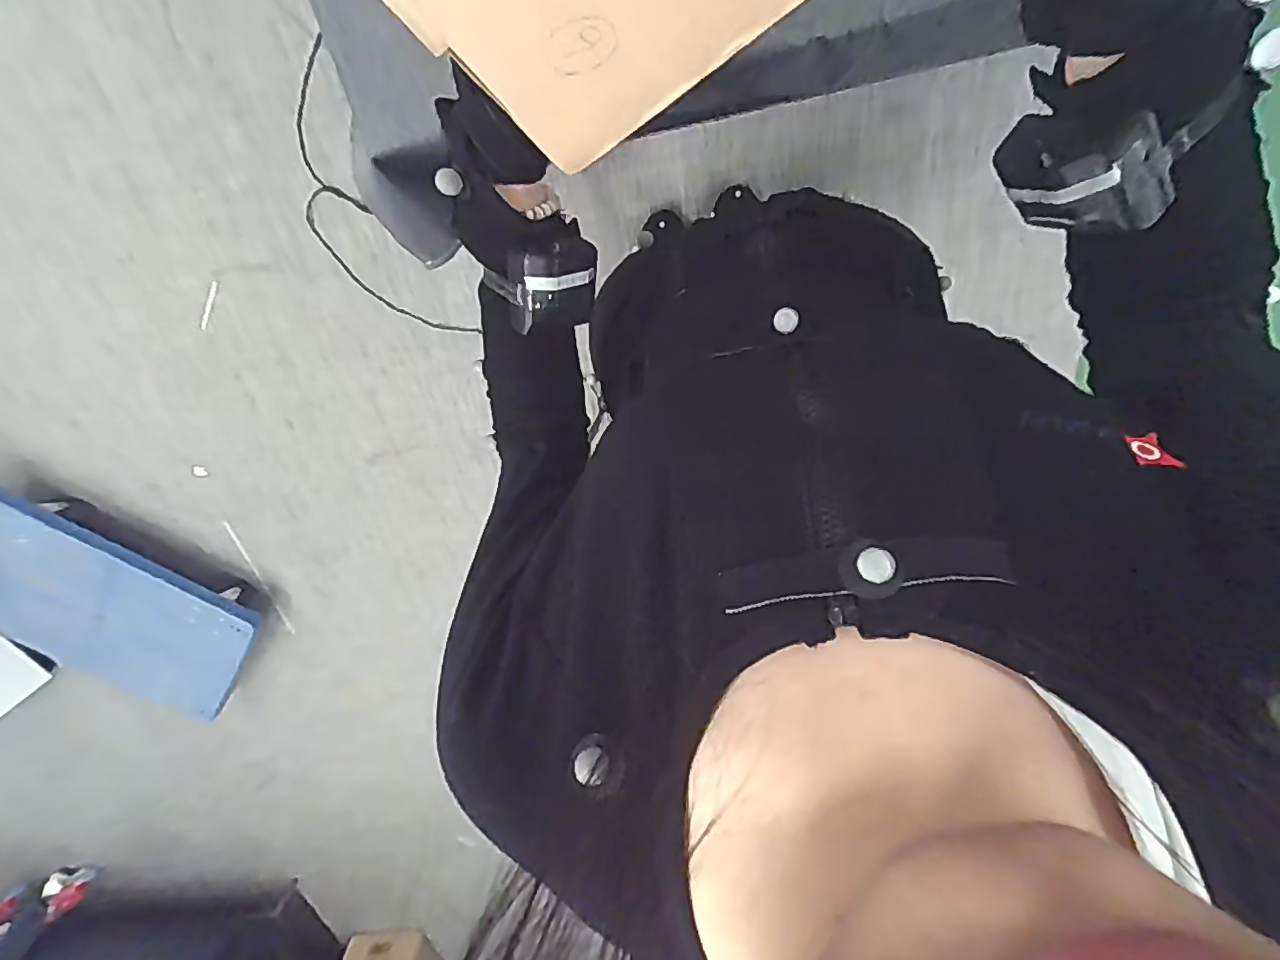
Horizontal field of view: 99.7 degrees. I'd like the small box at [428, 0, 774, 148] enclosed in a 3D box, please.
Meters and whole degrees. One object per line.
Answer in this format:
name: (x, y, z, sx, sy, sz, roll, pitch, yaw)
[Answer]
small box: (-0.007, -0.257, 0.156, 0.179, 0.176, 0.168, -16, 150, 33)
